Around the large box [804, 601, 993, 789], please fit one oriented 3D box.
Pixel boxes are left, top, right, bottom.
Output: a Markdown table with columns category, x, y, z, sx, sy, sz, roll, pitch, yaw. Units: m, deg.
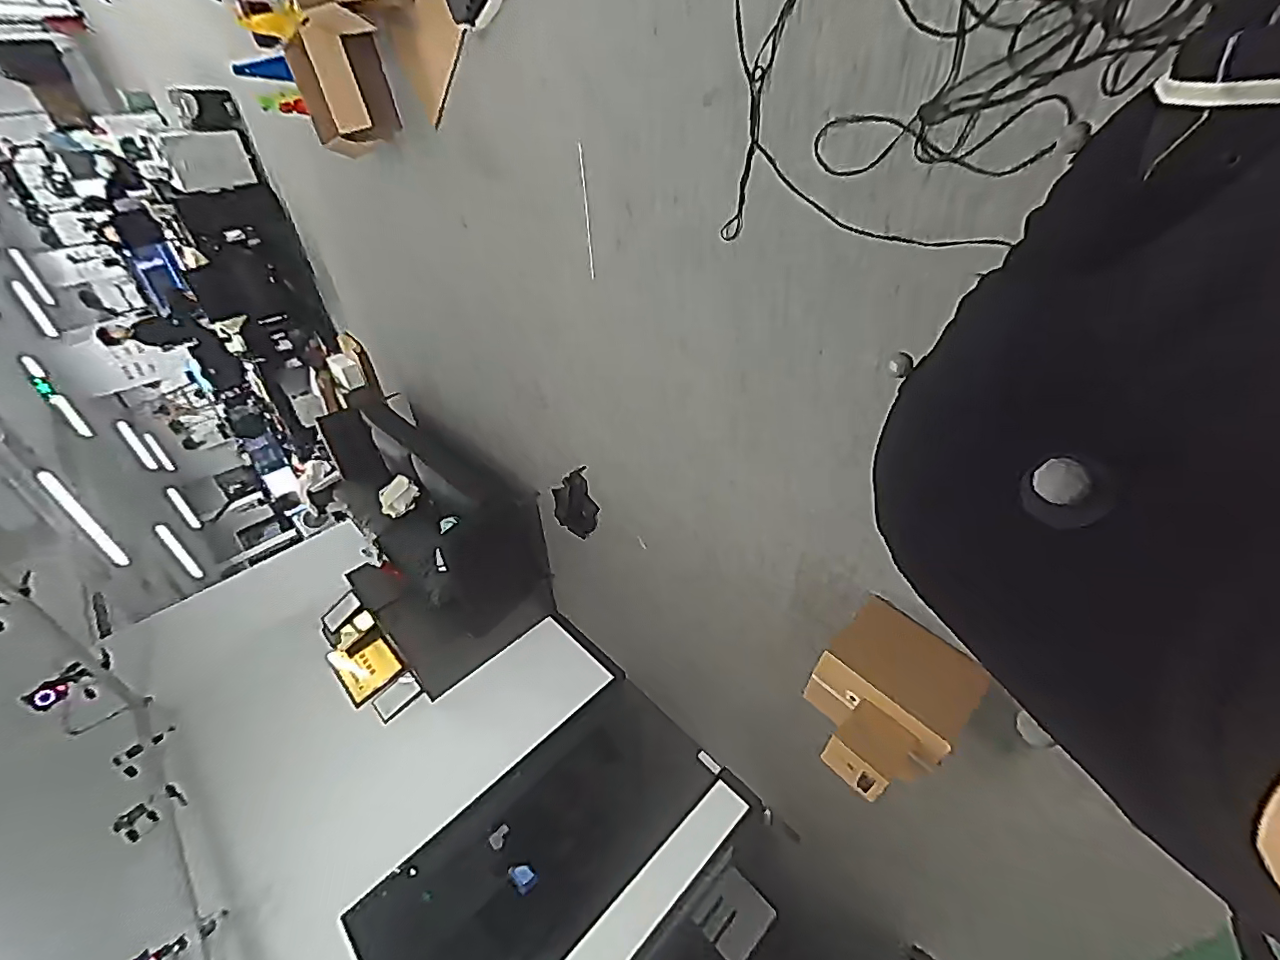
| category | x | y | z | sx | sy | sz | roll | pitch | yaw |
| --- | --- | --- | --- | --- | --- | --- | --- | --- | --- |
| large box | 0.815 | 0.676 | 1.739 | 0.408 | 0.320 | 0.320 | 37 | 141 | 32 |
